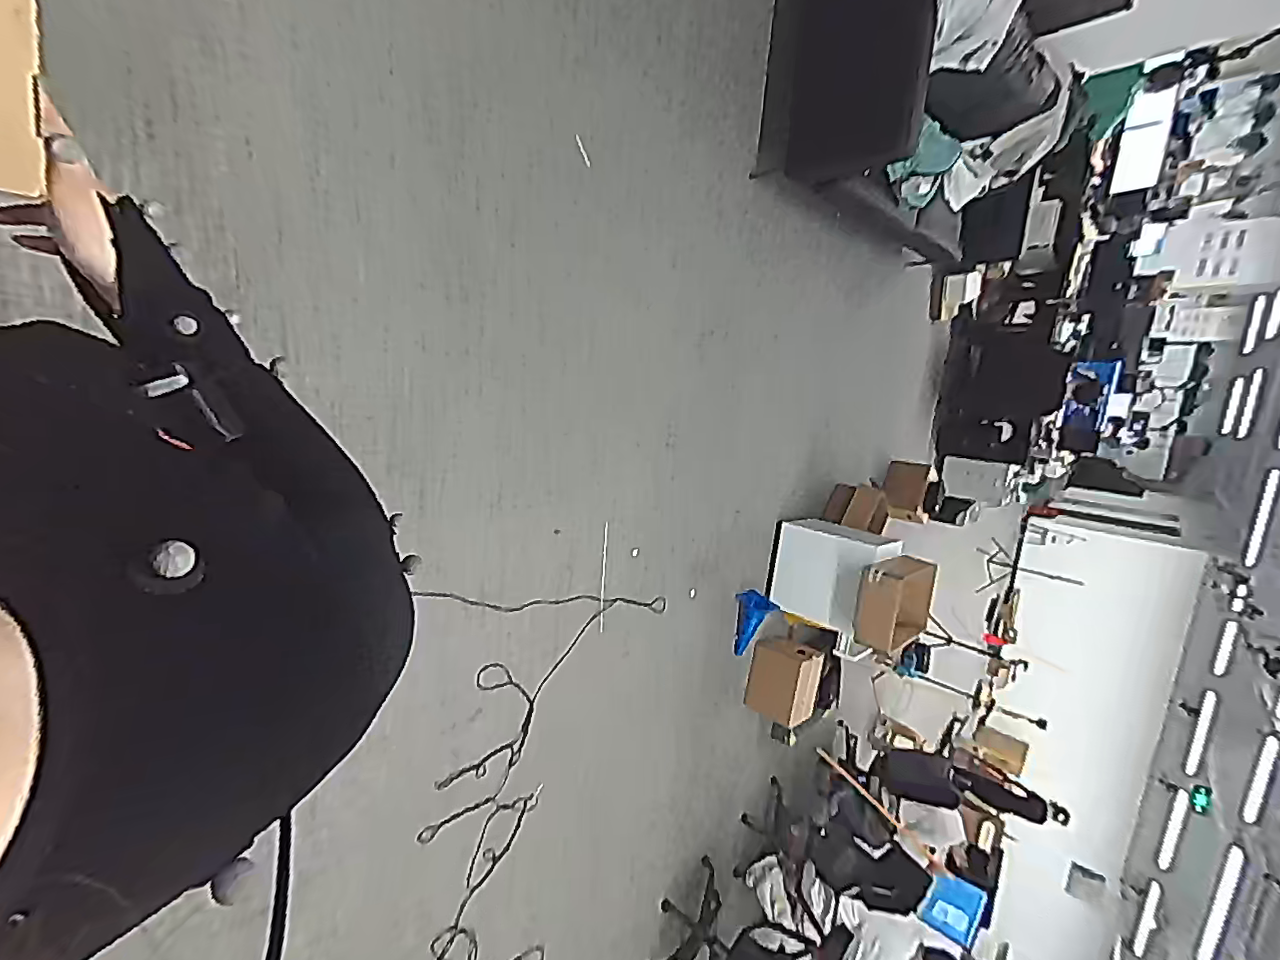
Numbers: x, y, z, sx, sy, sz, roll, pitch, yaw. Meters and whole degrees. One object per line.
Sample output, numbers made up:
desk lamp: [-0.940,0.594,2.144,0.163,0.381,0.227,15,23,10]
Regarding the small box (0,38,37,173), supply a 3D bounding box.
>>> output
small box: [-1.068,-0.614,0.837,0.168,0.176,0.179,8,95,-48]
